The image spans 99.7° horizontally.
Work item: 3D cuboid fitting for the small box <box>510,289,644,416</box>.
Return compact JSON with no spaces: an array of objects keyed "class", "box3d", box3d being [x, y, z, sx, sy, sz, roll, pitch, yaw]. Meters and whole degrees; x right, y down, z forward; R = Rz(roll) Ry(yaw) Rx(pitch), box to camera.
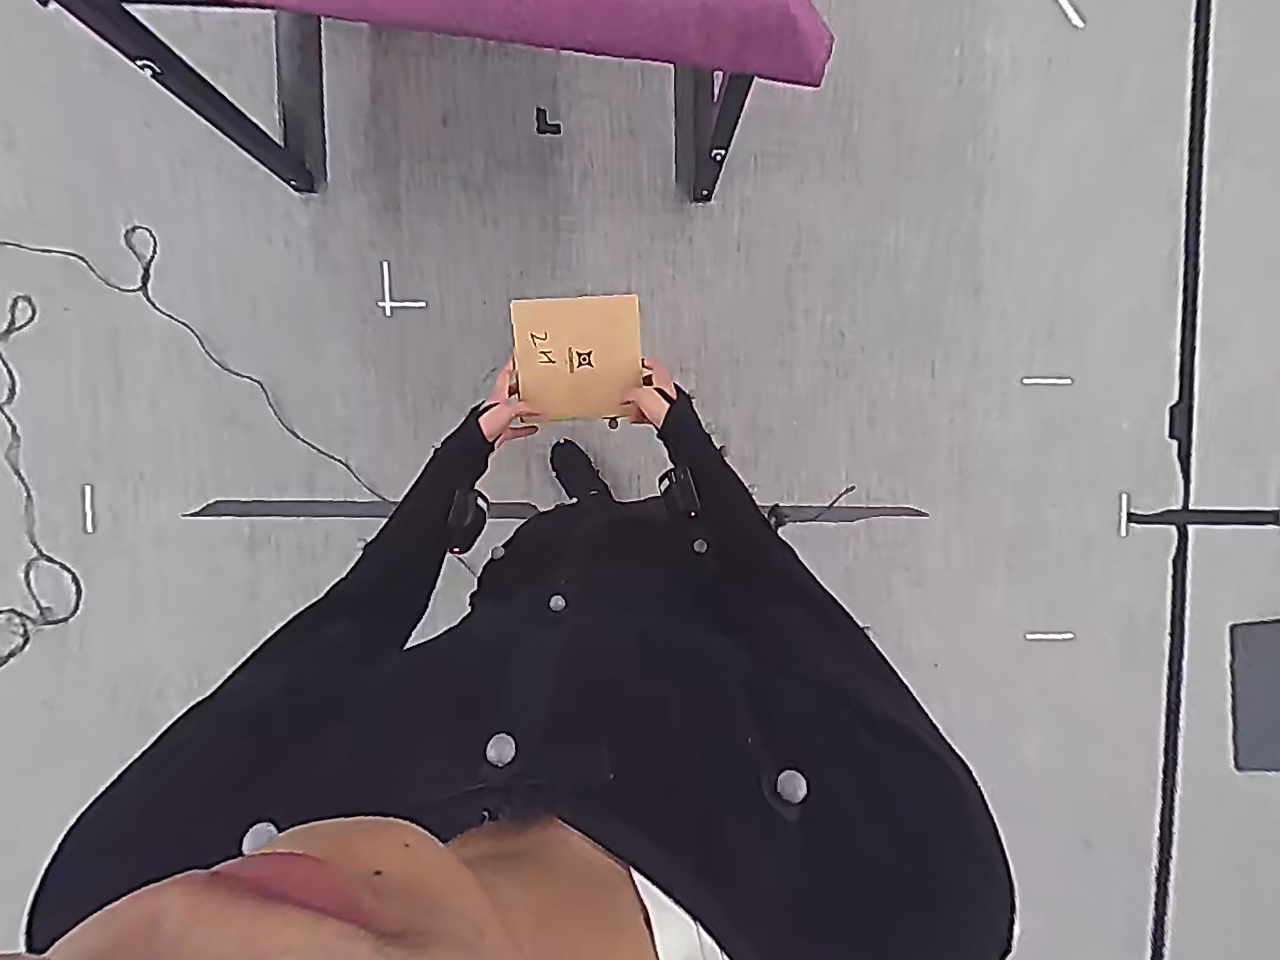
[{"class":"small box","box3d":[-0.089,-0.185,0.817,0.179,0.176,0.168,-4,97,-2]}]
